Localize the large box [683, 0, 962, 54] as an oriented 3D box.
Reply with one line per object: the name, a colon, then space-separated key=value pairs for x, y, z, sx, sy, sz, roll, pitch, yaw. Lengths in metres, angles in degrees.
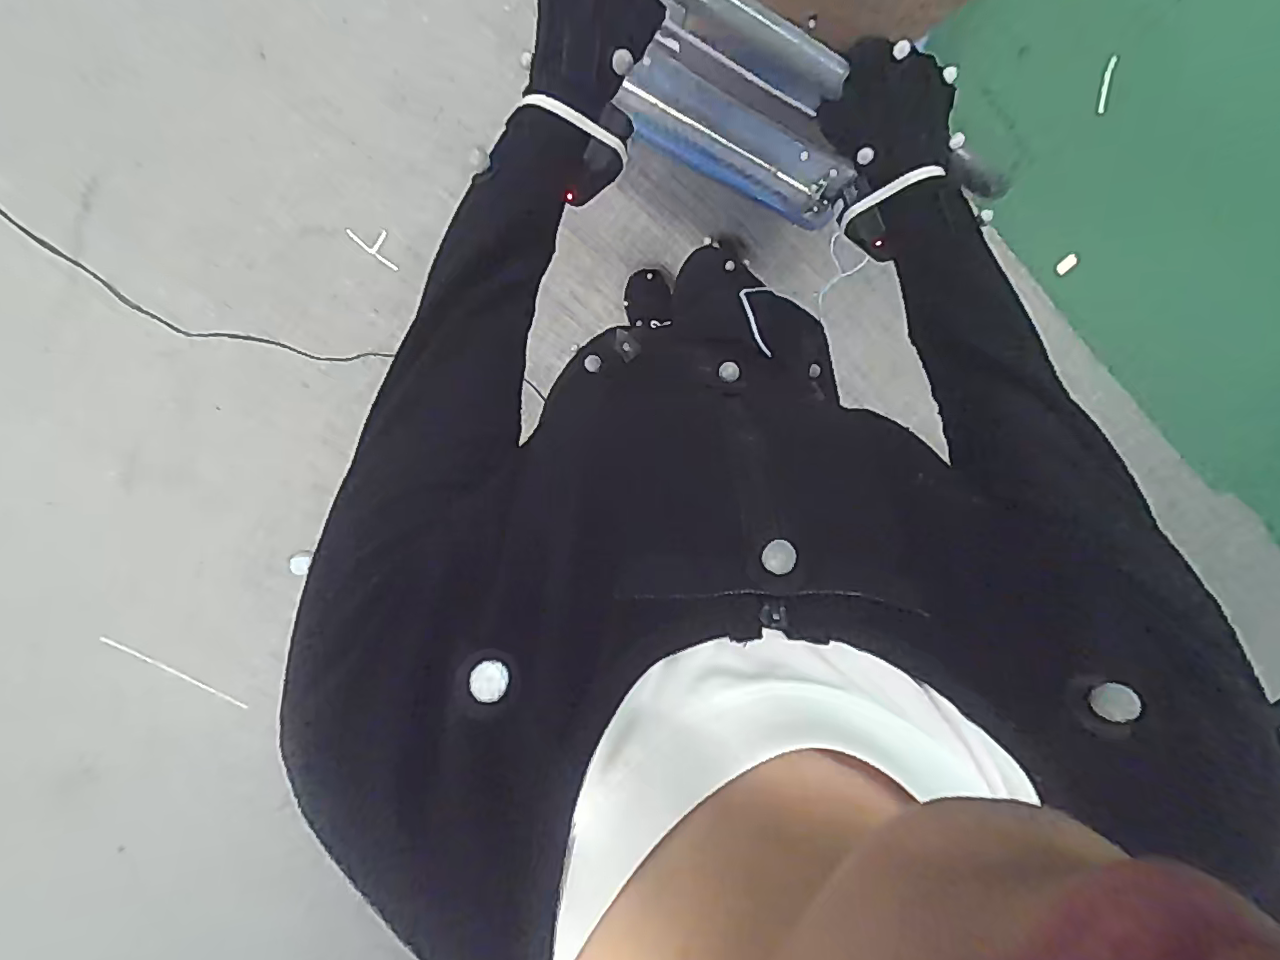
large box: x=0.293 y=-0.895 z=0.817 sx=0.408 sy=0.320 sz=0.320 roll=6 pitch=112 yaw=-3
